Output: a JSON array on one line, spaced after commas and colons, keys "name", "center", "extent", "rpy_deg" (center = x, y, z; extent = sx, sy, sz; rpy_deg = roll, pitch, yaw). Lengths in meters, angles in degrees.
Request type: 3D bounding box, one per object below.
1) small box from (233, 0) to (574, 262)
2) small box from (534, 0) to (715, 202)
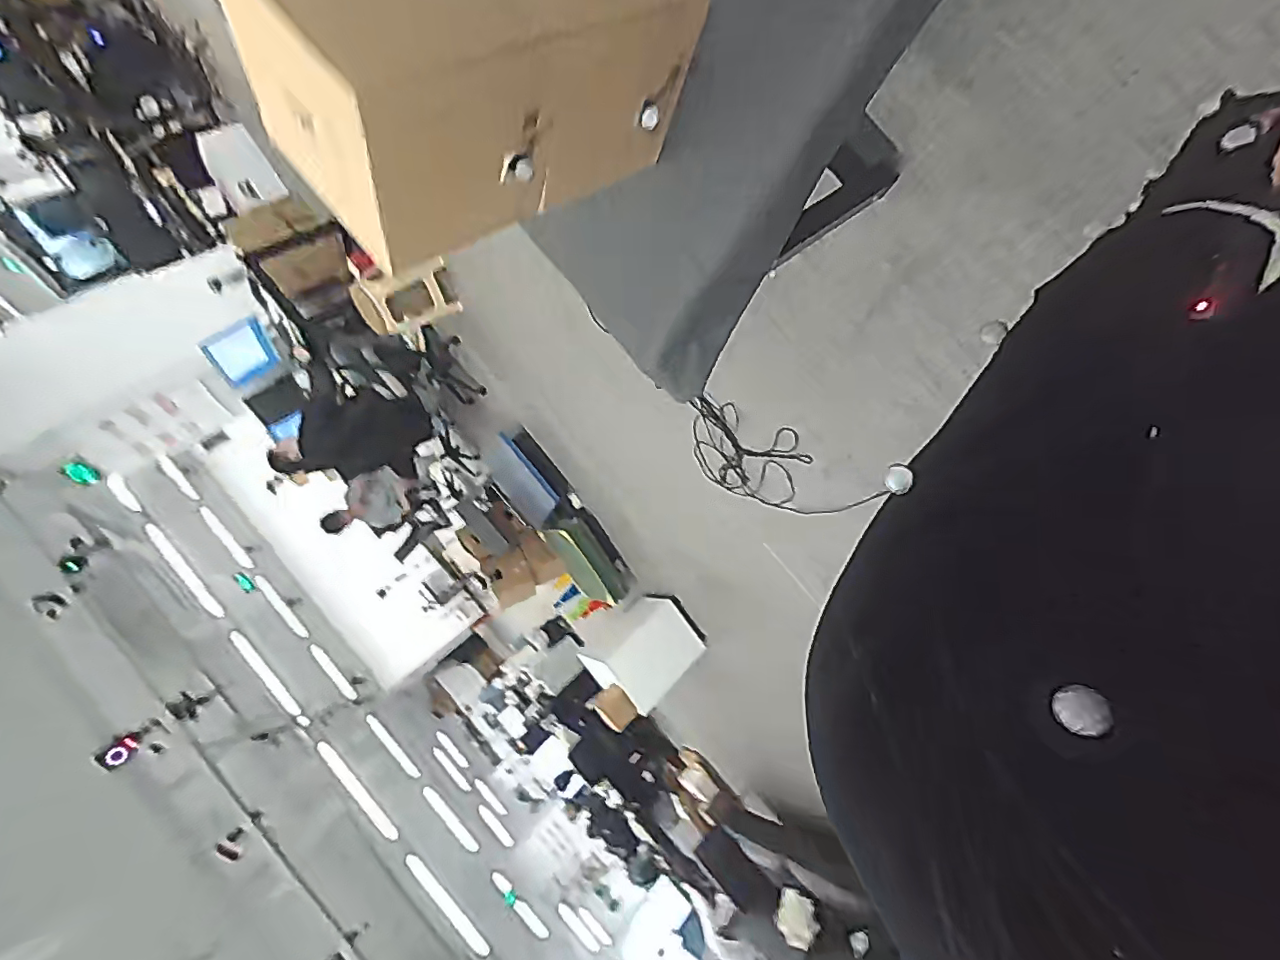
[{"name": "small box", "center": [-0.179, -0.317, 0.424], "extent": [0.179, 0.176, 0.168], "rpy_deg": [48, 155, 5]}, {"name": "small box", "center": [-0.066, -0.406, 0.500], "extent": [0.179, 0.176, 0.168], "rpy_deg": [49, 154, 5]}]
